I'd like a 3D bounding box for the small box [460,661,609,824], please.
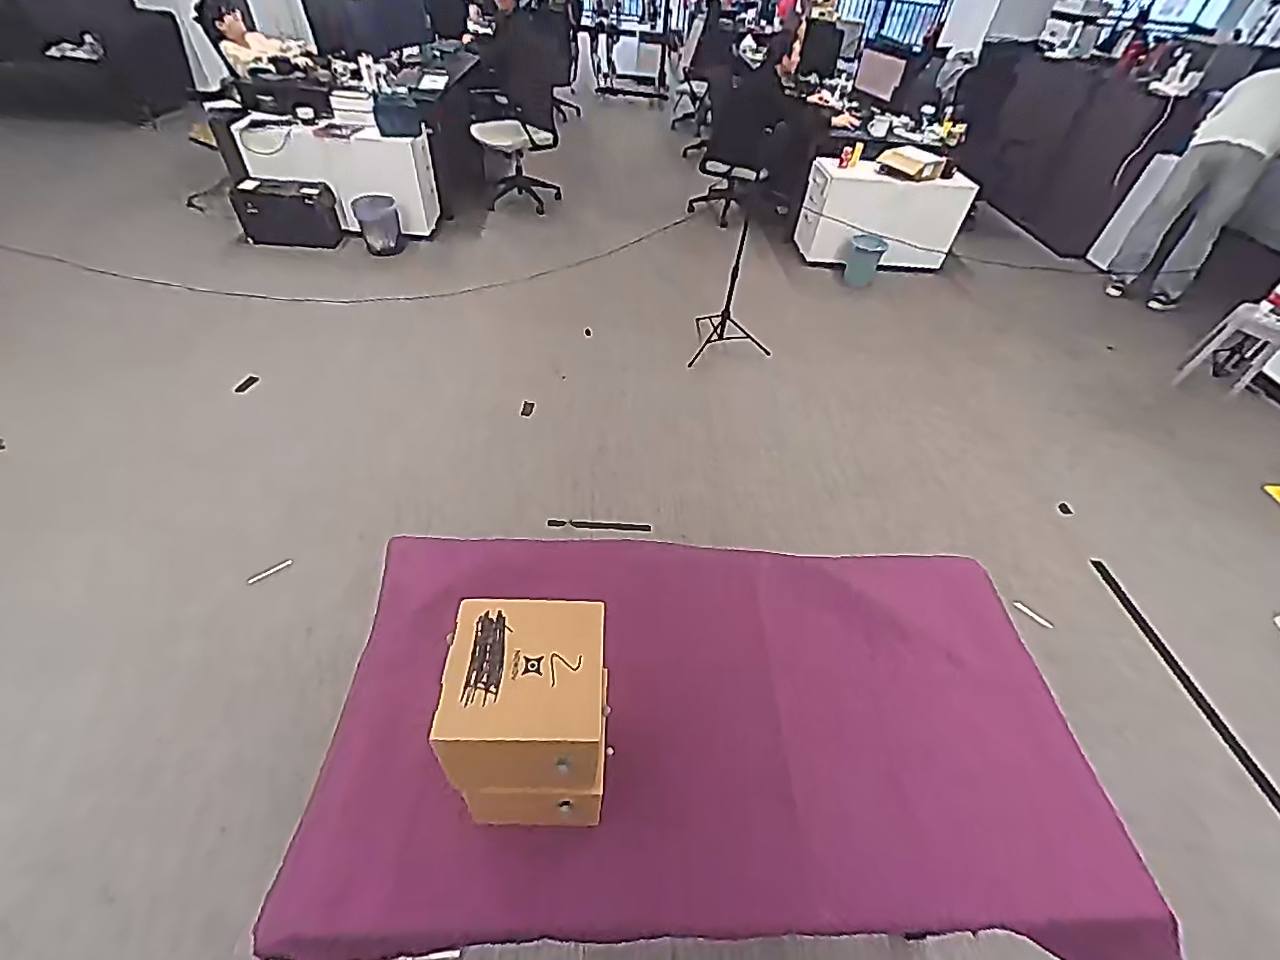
[{"bbox_3d":[-0.140,0.377,0.773,0.179,0.176,0.168,4,46,-3],"label":"small box"}]
